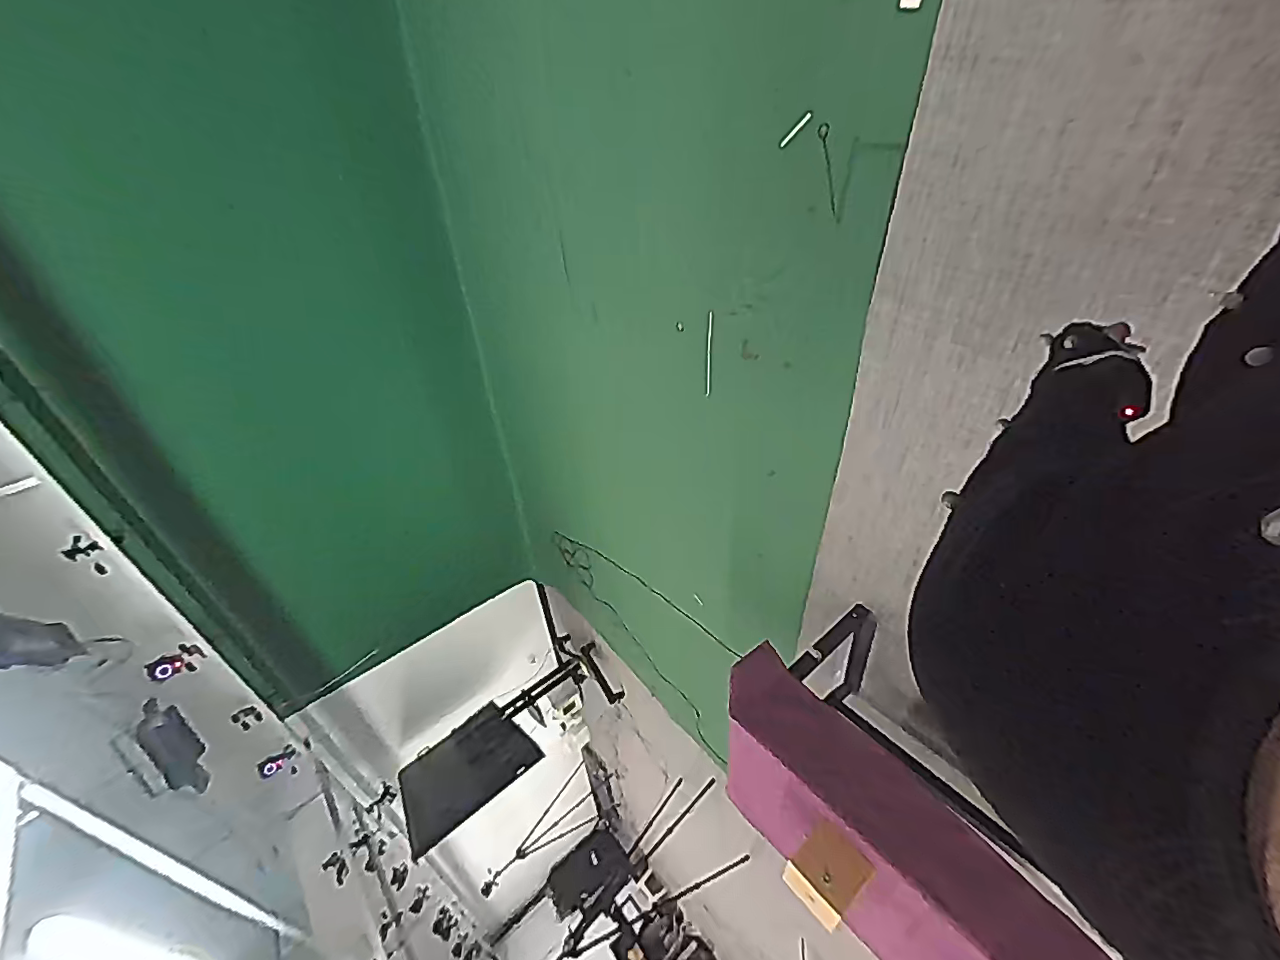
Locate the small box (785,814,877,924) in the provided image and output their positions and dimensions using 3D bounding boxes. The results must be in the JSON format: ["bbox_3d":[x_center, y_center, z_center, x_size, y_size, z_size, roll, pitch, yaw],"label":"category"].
[{"bbox_3d":[0.552,1.120,1.564,0.179,0.176,0.168,37,144,38],"label":"small box"}]
